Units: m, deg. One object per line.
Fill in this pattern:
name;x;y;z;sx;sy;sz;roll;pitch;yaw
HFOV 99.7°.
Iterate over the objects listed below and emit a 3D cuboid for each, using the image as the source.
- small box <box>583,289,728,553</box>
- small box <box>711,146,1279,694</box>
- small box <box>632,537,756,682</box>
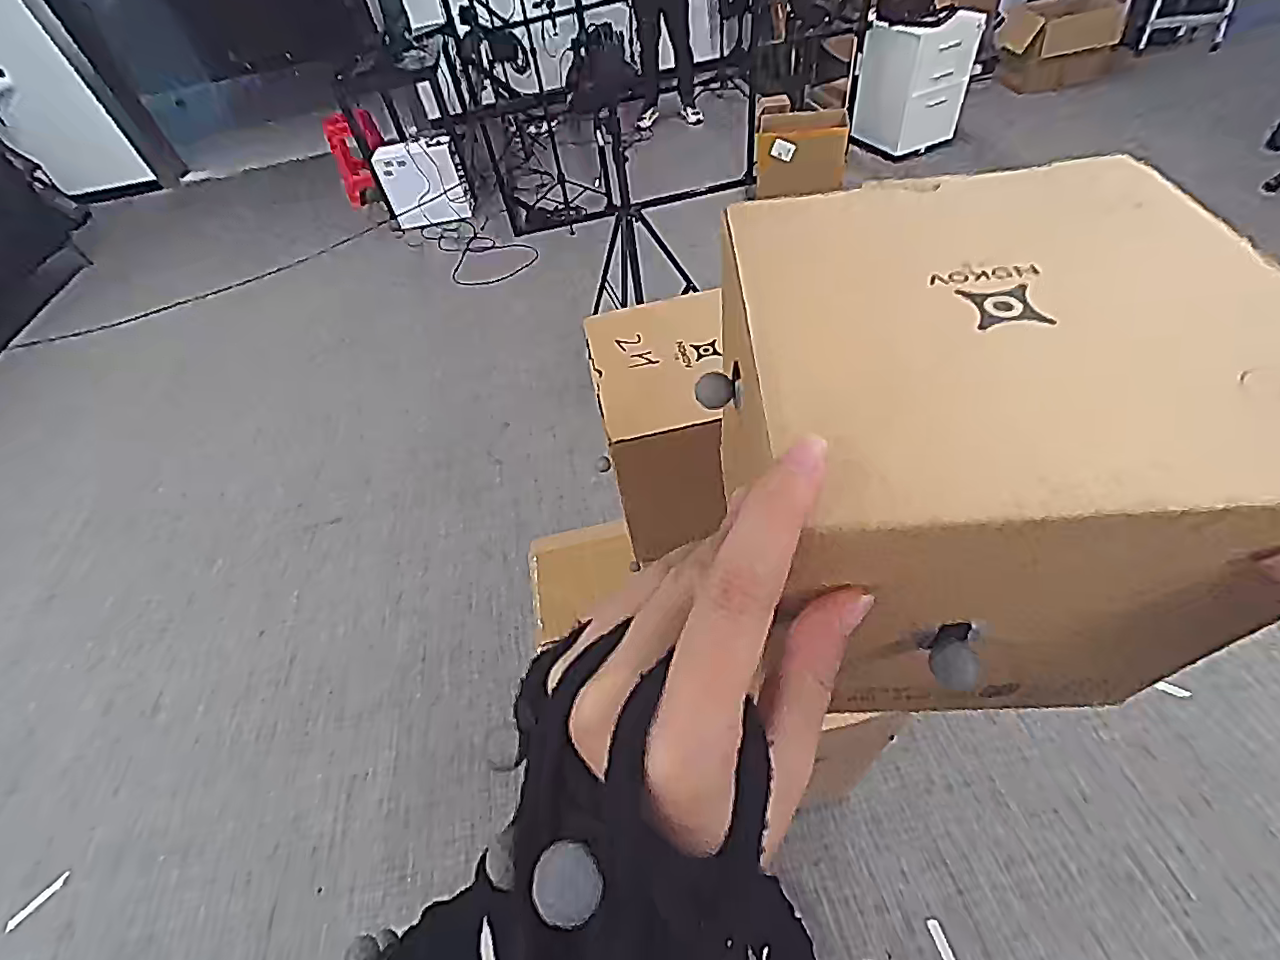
small box;0.054;-0.054;0.507;0.179;0.176;0.168;-12;50;-1
small box;0.123;-0.014;0.241;0.168;0.176;0.179;-4;50;6
small box;0.094;0.162;0.752;0.179;0.176;0.168;-12;49;-2
